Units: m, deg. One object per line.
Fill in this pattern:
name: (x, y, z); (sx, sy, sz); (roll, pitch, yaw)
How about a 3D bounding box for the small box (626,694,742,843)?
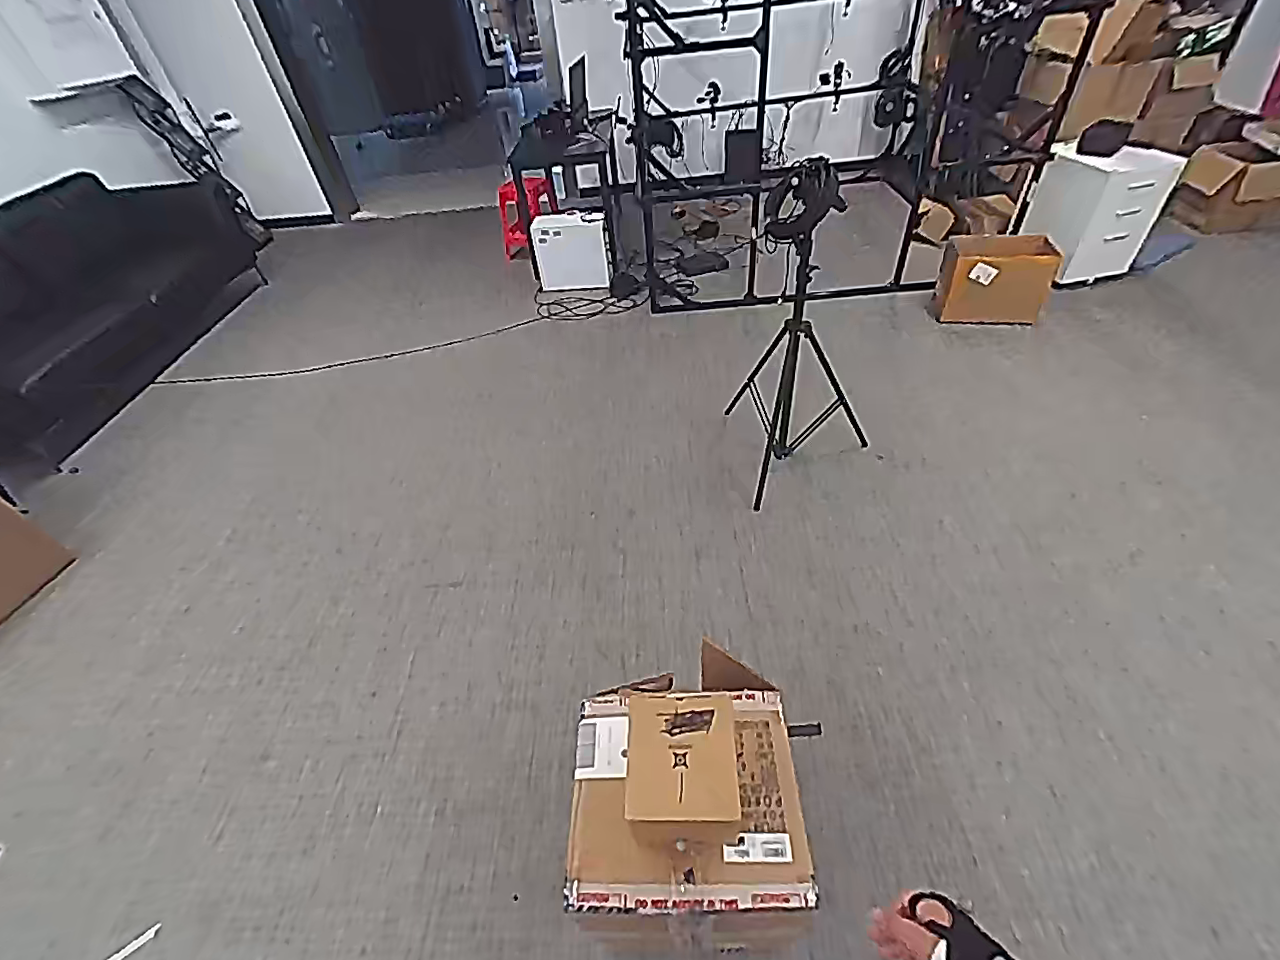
small box: (0.070, 0.465, 0.874); (0.168, 0.176, 0.179); (-3, 47, 5)
